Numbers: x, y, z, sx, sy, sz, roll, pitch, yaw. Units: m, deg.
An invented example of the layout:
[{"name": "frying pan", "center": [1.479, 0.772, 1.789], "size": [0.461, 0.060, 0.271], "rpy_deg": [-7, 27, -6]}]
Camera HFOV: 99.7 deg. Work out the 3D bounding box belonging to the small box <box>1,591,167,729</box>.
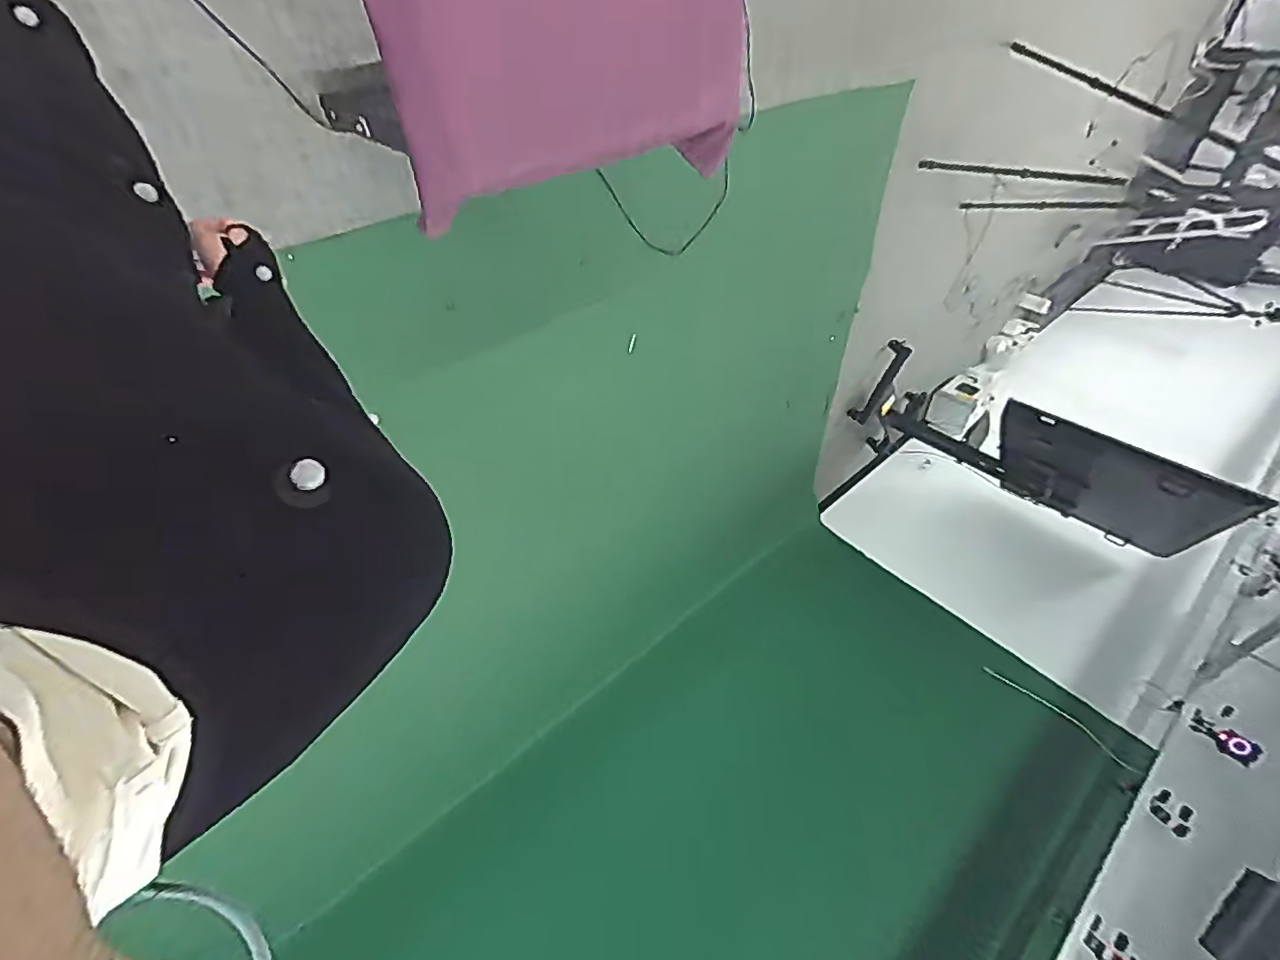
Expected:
[{"name": "small box", "center": [-1.146, 0.371, 1.126], "size": [0.179, 0.176, 0.168], "rpy_deg": [-37, 143, -20]}]
